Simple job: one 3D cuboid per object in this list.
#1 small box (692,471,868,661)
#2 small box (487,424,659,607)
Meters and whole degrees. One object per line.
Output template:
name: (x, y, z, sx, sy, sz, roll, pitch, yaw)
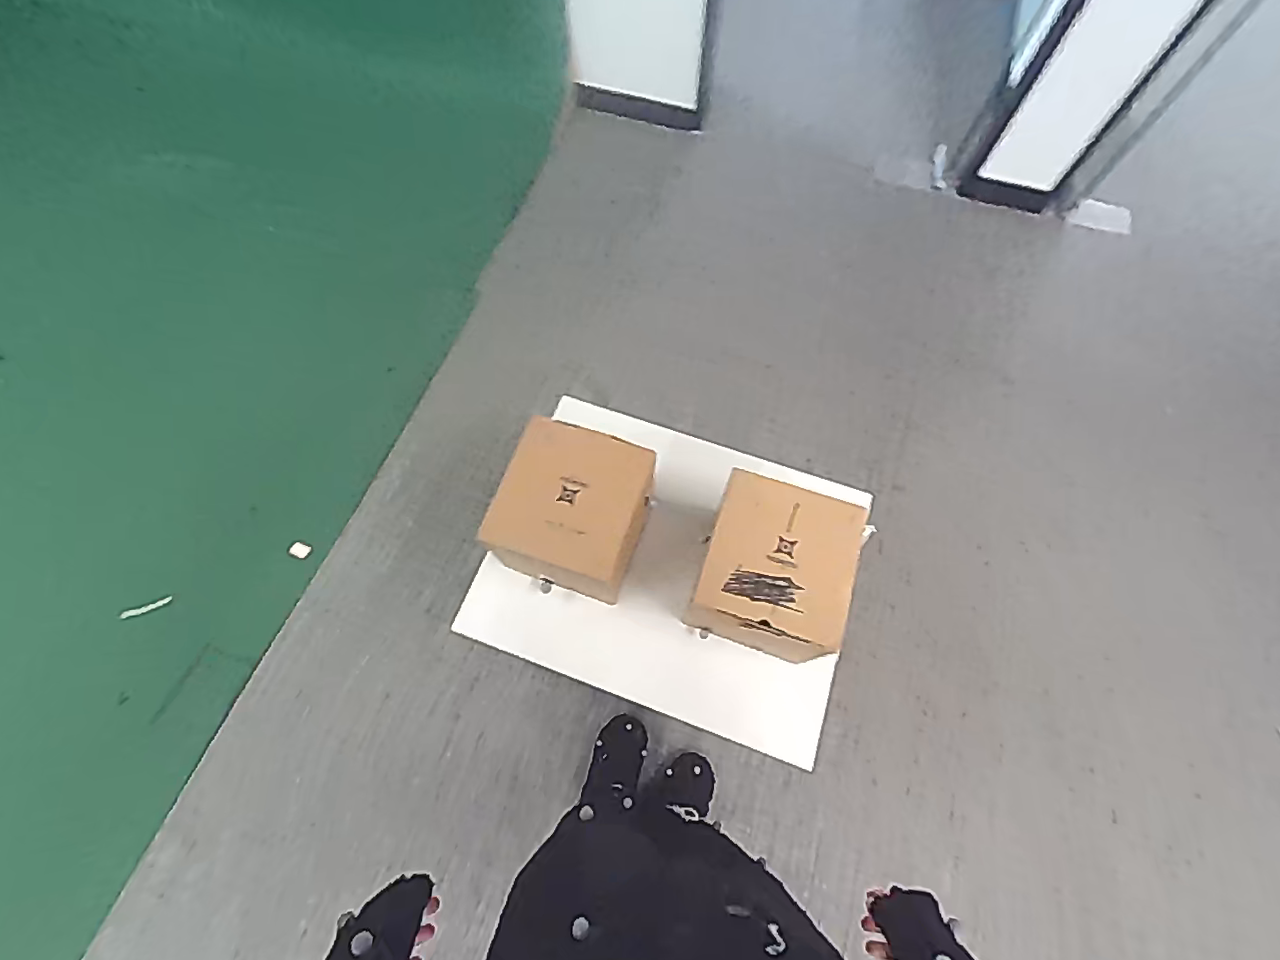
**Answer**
small box: (0.167, 0.119, 0.690, 0.168, 0.176, 0.179, 17, 68, 9)
small box: (-0.077, 0.055, 0.724, 0.168, 0.176, 0.179, 15, 70, 8)
